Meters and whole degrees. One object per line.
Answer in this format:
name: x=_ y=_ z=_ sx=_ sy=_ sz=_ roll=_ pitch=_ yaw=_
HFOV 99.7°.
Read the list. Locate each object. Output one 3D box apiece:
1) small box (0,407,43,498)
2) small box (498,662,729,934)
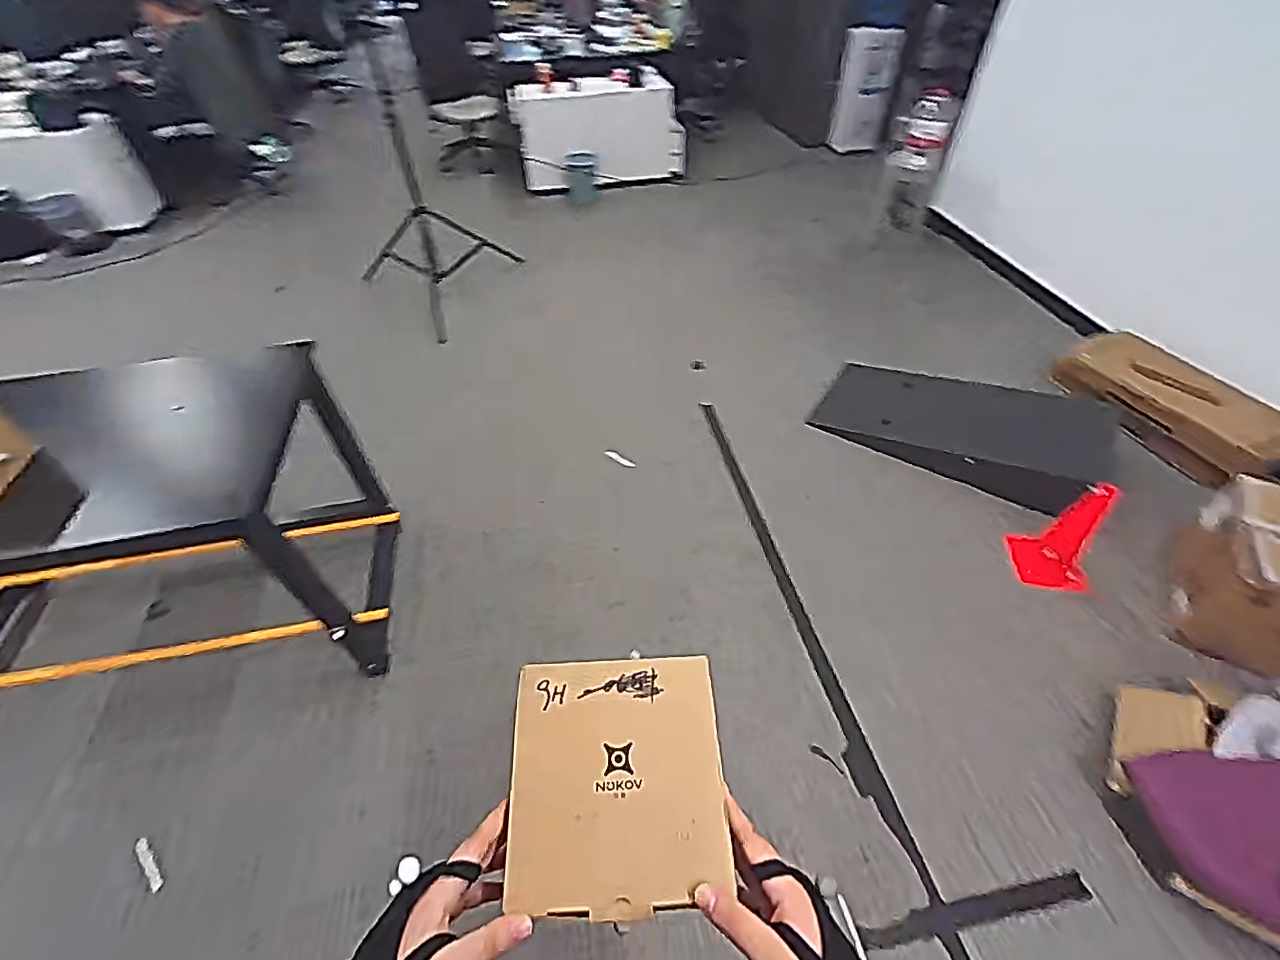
small box: x=-1.328 y=-0.053 z=1.022 sx=0.179 sy=0.176 sz=0.168 roll=-8 pitch=48 yaw=-7
small box: x=-0.022 y=0.278 z=0.485 sx=0.168 sy=0.176 sz=0.179 roll=-3 pitch=55 yaw=-3
